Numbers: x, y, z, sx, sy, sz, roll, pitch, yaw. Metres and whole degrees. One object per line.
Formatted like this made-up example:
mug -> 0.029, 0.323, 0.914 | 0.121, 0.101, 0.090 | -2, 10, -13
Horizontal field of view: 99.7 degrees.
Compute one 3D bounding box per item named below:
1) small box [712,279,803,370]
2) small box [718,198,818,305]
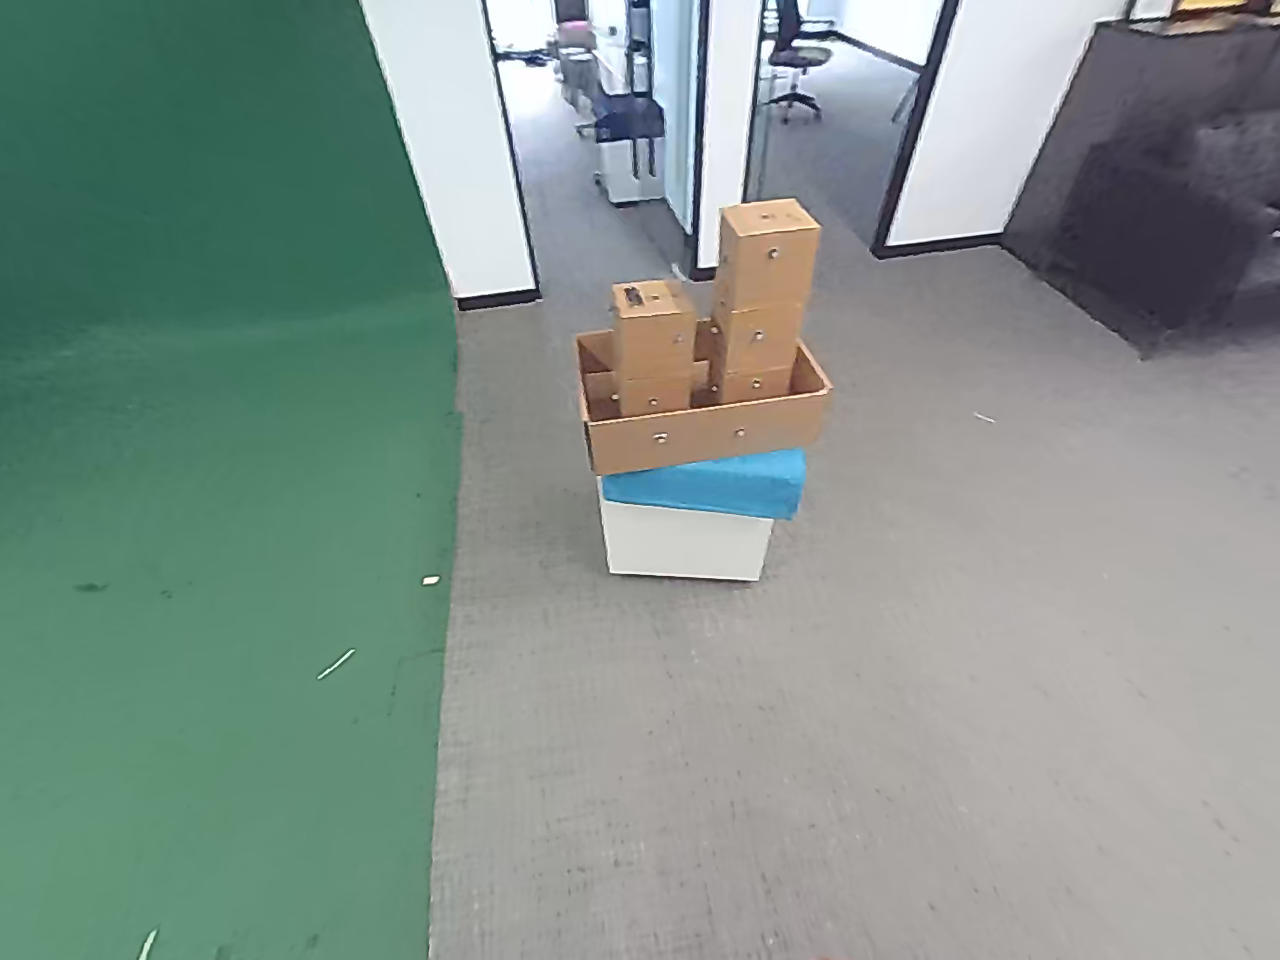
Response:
small box -> 0.281, -0.390, 1.330 | 0.179, 0.176, 0.168 | -10, 47, -3
small box -> 0.277, -0.509, 1.214 | 0.179, 0.176, 0.168 | -8, 47, -3
